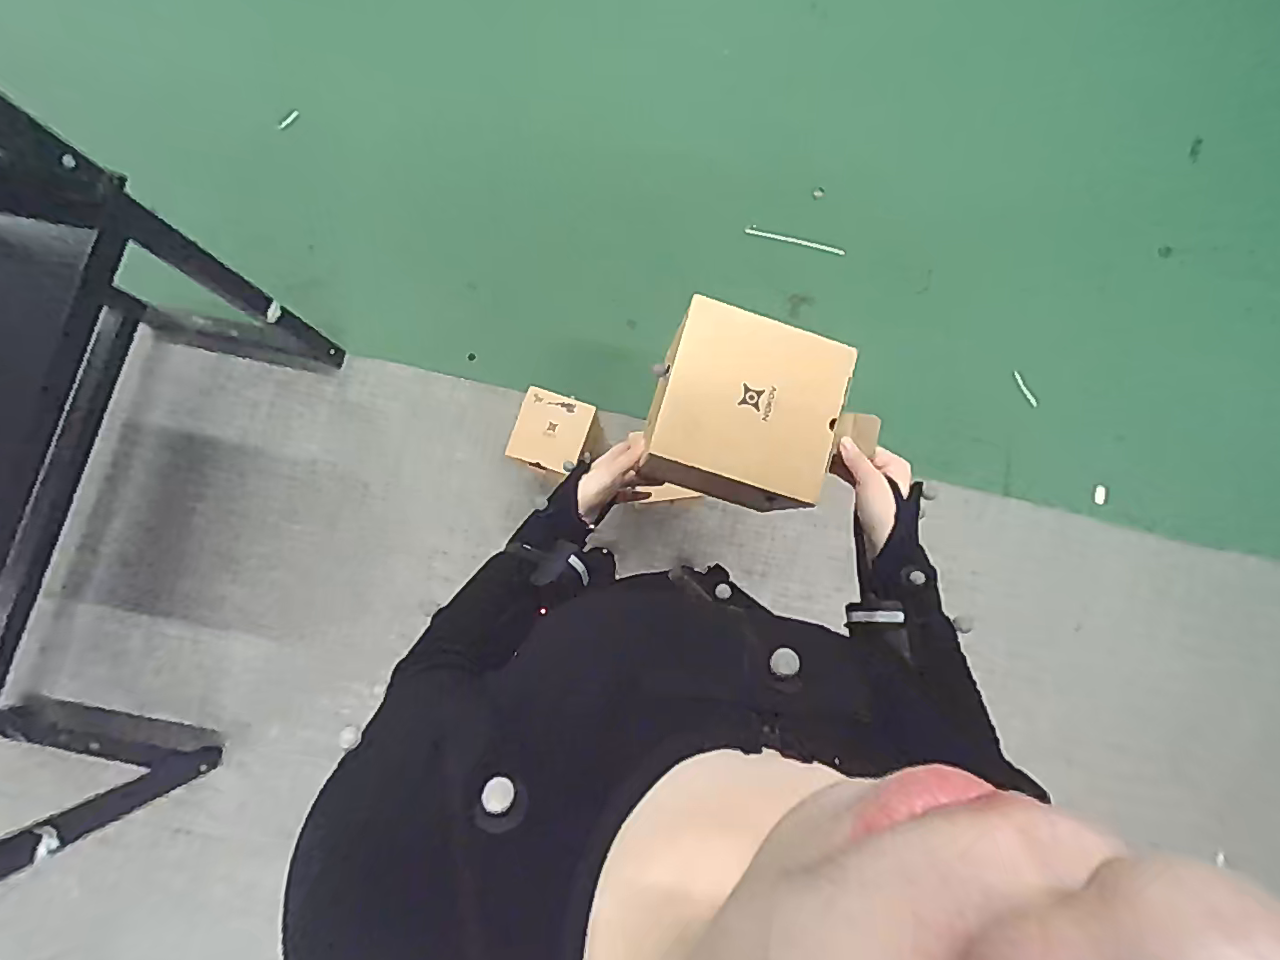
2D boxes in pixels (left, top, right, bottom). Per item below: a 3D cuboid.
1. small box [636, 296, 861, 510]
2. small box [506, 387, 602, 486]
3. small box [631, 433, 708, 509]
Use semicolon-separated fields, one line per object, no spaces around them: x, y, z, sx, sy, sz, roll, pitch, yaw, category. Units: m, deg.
0.102;-0.066;0.587;0.179;0.176;0.168;17;83;-5;small box
-0.196;-0.095;1.297;0.168;0.176;0.179;19;82;3;small box
0.073;-0.023;1.294;0.179;0.176;0.168;-7;84;-3;small box
